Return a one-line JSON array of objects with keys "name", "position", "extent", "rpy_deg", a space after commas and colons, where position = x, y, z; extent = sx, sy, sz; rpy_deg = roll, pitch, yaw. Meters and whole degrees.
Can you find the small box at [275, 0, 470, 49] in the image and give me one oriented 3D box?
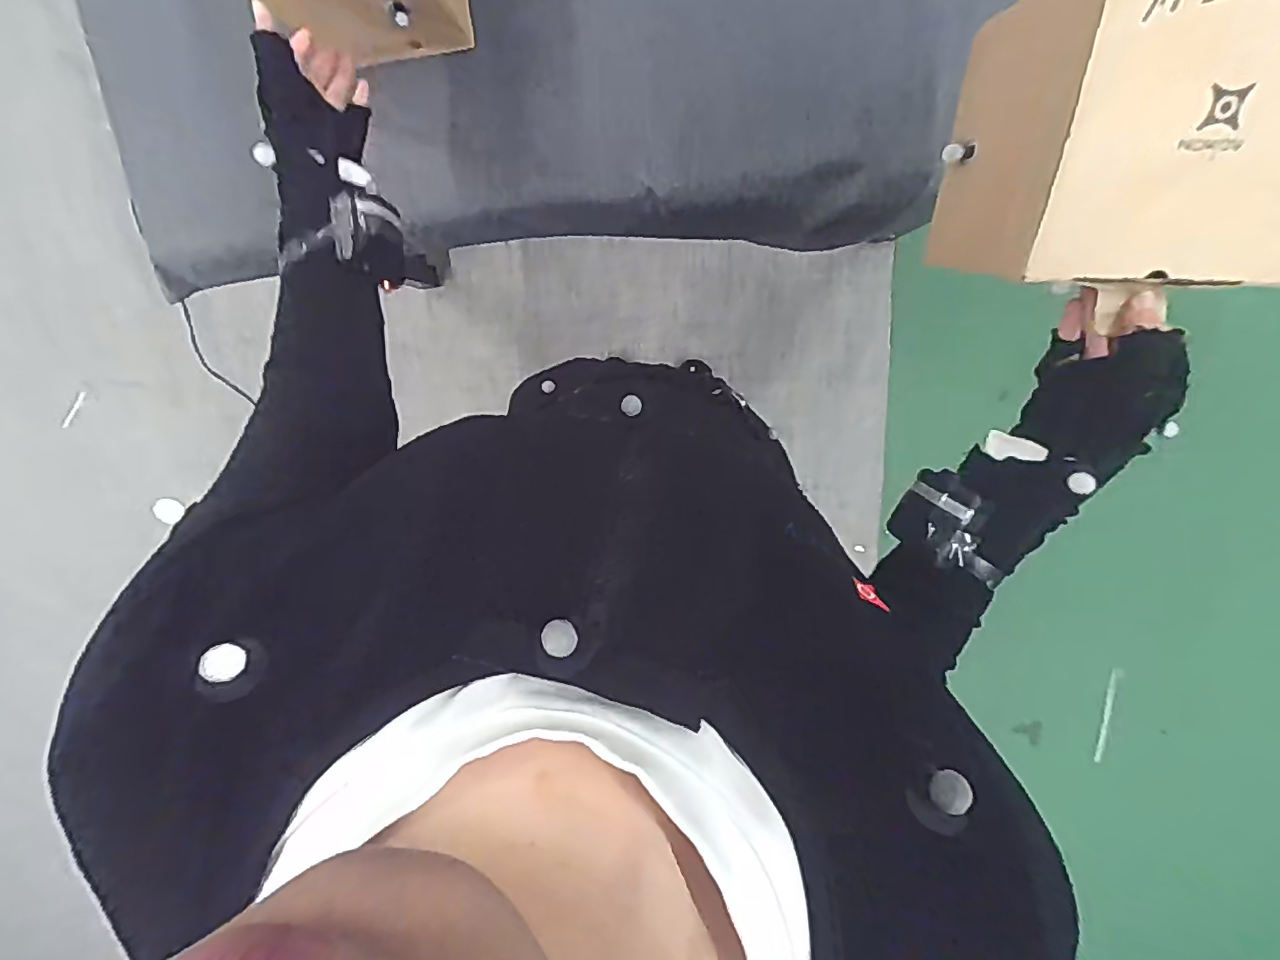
[{"name": "small box", "position": [-0.277, -0.549, 0.512], "extent": [0.168, 0.176, 0.179], "rpy_deg": [-6, 103, 4]}]
